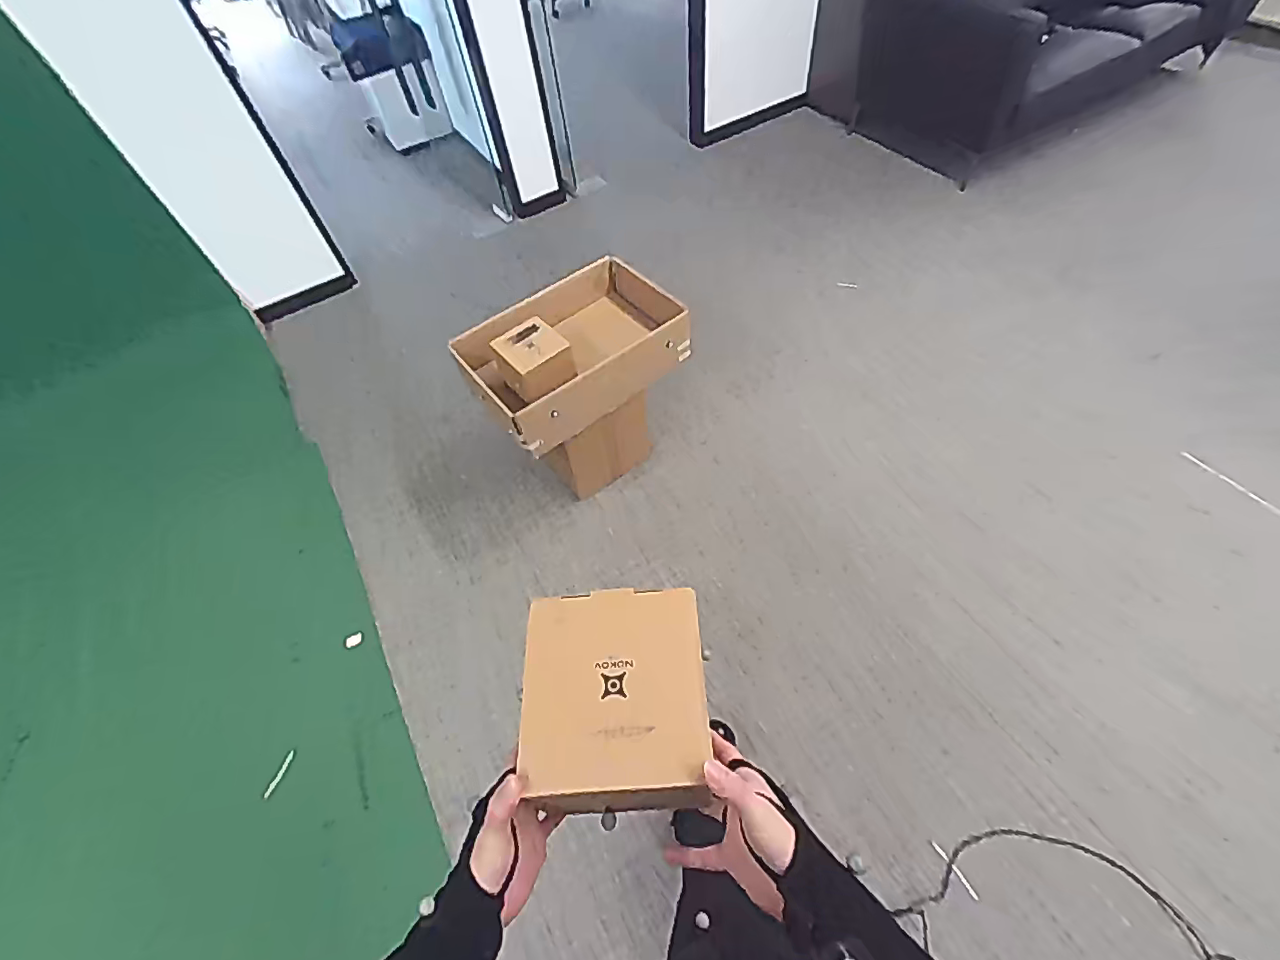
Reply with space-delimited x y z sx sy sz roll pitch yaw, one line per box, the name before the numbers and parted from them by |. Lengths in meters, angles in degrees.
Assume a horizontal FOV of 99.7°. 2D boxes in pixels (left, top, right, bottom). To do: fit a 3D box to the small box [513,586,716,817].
small box | -0.020 0.224 0.542 0.168 0.176 0.179 -3 53 1
